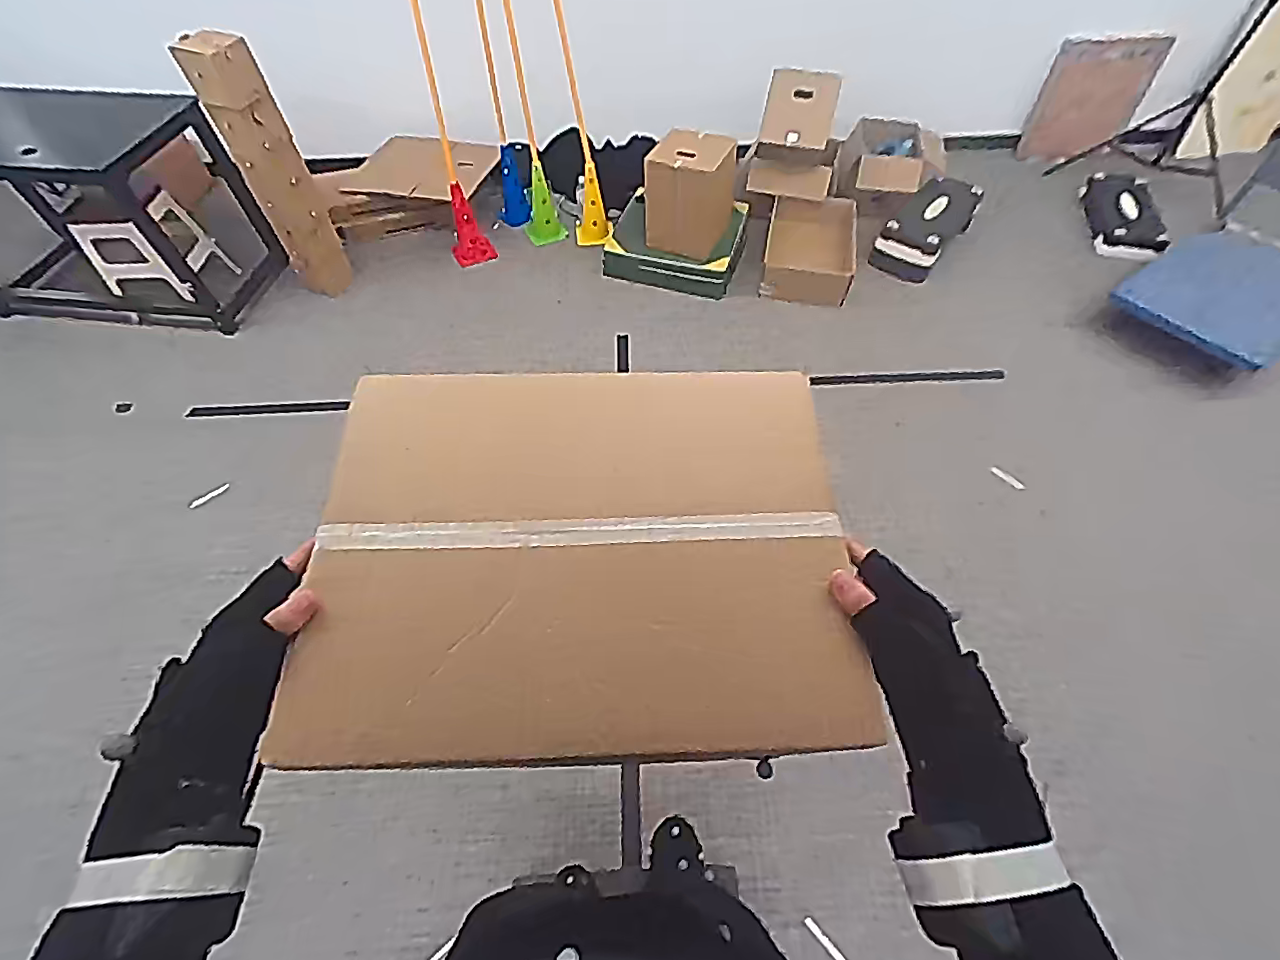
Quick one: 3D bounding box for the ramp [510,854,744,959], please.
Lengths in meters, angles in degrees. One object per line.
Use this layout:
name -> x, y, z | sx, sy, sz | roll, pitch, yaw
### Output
ramp -> -0.011, 1.292, 0.995 | 0.509, 0.206, 0.991 | -3, 56, -3

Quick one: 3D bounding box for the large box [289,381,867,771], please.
large box -> -0.046, 0.117, 0.567 | 0.408, 0.320, 0.320 | -1, 62, -2
